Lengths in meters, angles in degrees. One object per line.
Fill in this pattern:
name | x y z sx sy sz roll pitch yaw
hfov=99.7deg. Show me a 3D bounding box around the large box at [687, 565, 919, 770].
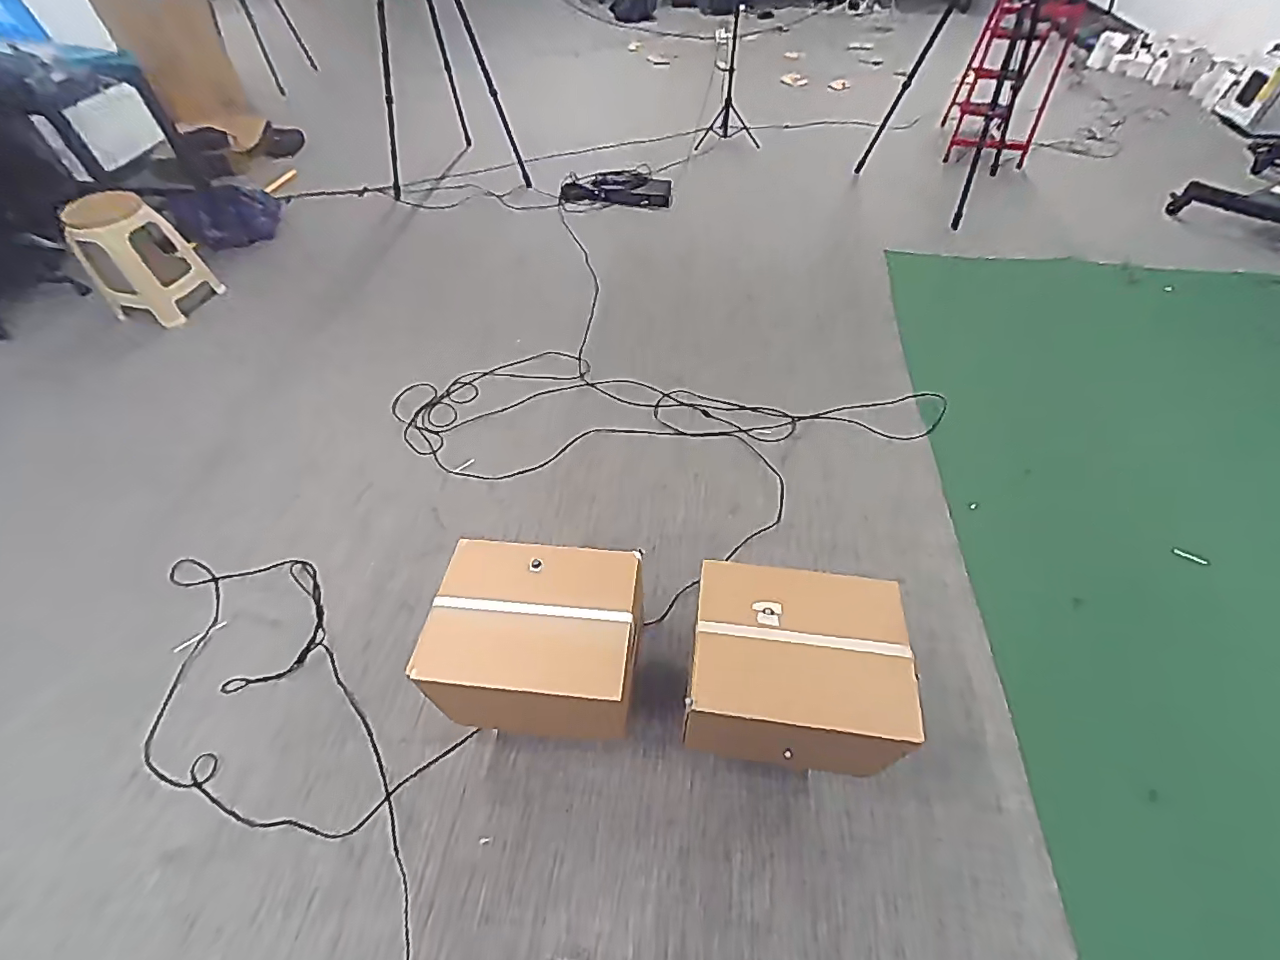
large box | 0.318 0.409 1.168 0.408 0.320 0.320 6 52 7
